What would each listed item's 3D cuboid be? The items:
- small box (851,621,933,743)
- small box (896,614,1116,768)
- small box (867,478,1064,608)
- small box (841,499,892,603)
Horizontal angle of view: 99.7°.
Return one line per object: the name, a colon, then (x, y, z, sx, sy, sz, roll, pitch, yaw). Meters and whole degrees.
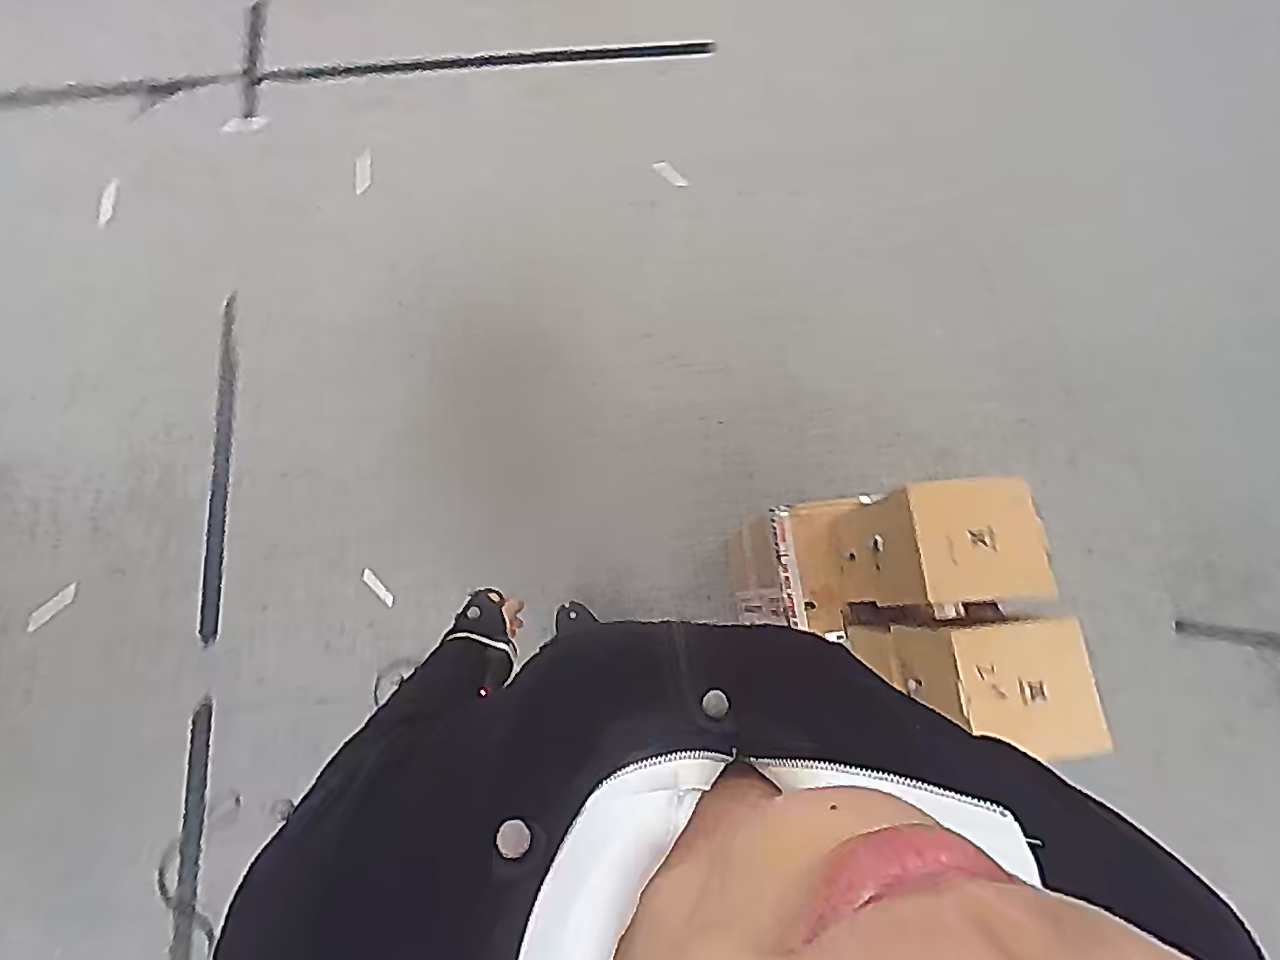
small box: (0.484, 0.332, 0.917, 0.179, 0.176, 0.168, -4, 78, 0)
small box: (0.495, 0.282, 0.760, 0.179, 0.176, 0.168, -6, 78, -1)
small box: (0.465, 0.099, 0.801, 0.179, 0.176, 0.168, -4, 74, 1)
small box: (0.471, 0.128, 0.962, 0.179, 0.176, 0.168, -3, 76, 0)
